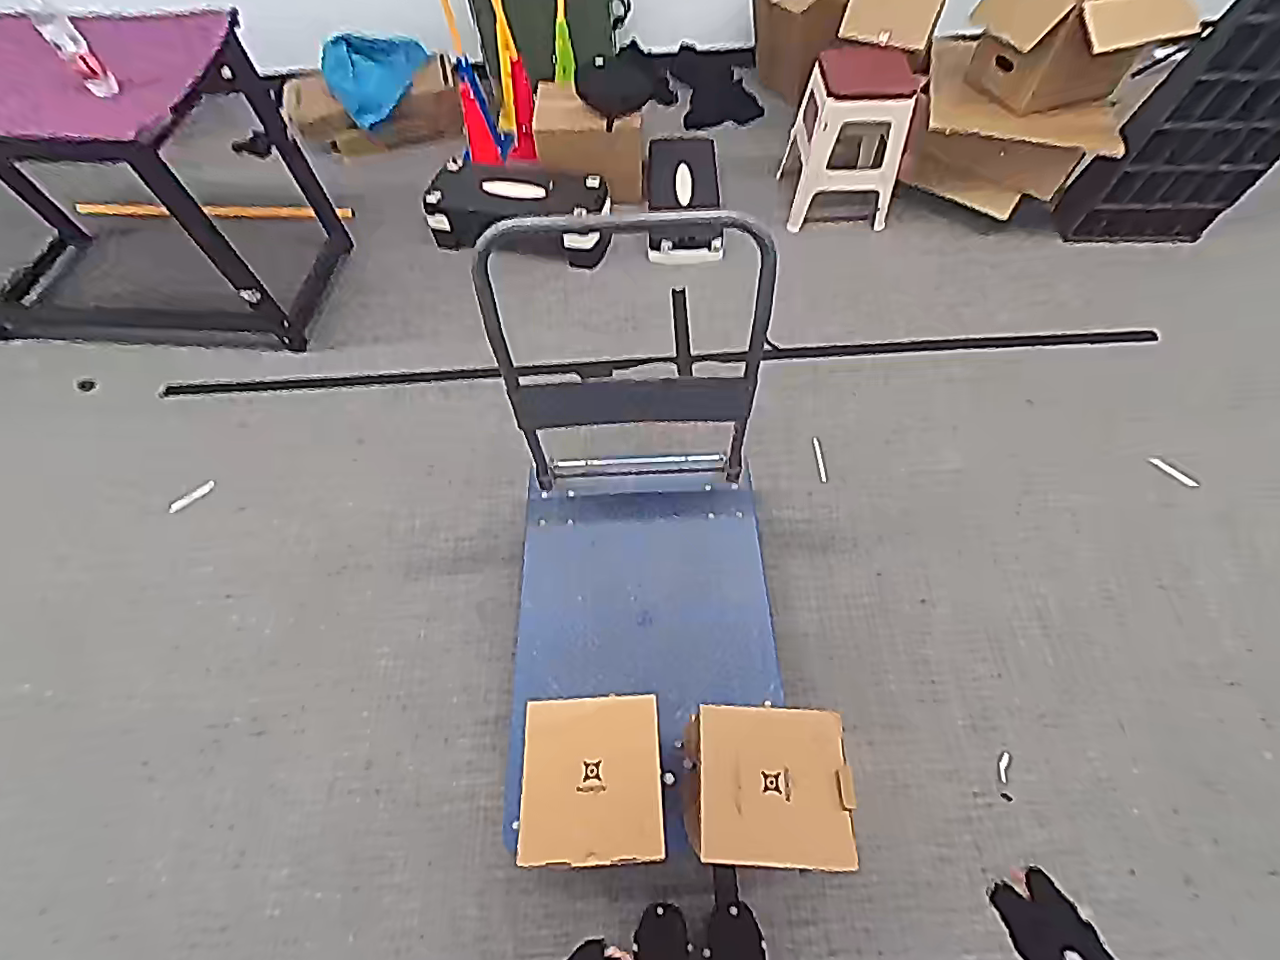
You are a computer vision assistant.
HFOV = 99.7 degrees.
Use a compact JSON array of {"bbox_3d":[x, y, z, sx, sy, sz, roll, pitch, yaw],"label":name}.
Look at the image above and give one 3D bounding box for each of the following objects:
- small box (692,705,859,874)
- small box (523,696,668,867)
[{"bbox_3d":[0.163,0.398,0.708,0.179,0.176,0.168,2,60,3],"label":"small box"},{"bbox_3d":[-0.053,0.395,0.715,0.168,0.176,0.179,-3,61,0],"label":"small box"}]
